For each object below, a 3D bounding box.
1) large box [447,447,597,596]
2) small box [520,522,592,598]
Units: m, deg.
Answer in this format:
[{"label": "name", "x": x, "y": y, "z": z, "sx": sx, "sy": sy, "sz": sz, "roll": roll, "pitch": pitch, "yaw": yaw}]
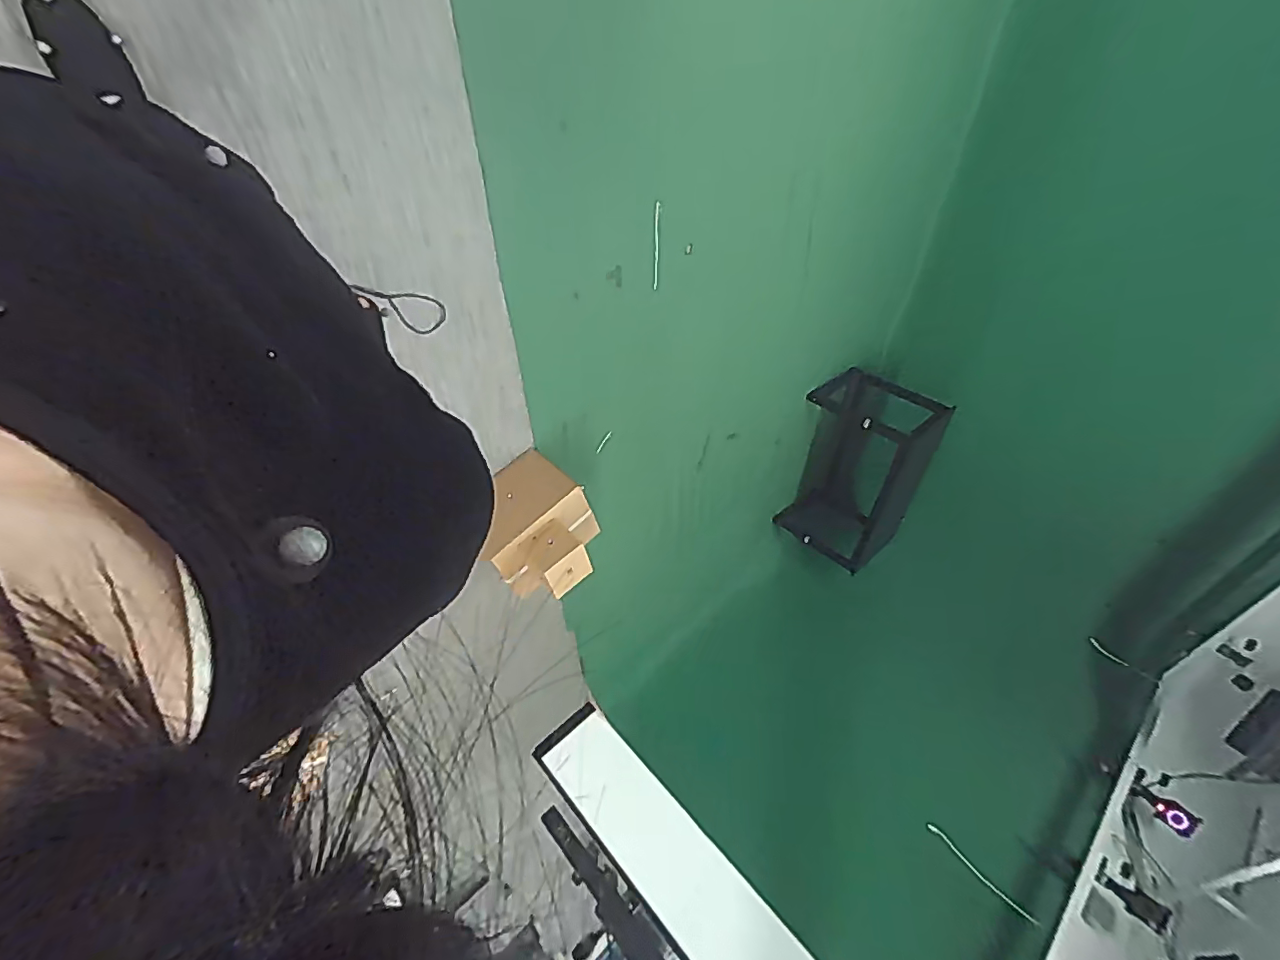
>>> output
[{"label": "large box", "x": -0.440, "y": 0.153, "z": 2.065, "sx": 0.408, "sy": 0.320, "sz": 0.320, "roll": -43, "pitch": 146, "yaw": -19}, {"label": "small box", "x": -0.296, "y": 0.271, "z": 1.897, "sx": 0.168, "sy": 0.176, "sz": 0.179, "roll": -37, "pitch": 143, "yaw": -22}]
